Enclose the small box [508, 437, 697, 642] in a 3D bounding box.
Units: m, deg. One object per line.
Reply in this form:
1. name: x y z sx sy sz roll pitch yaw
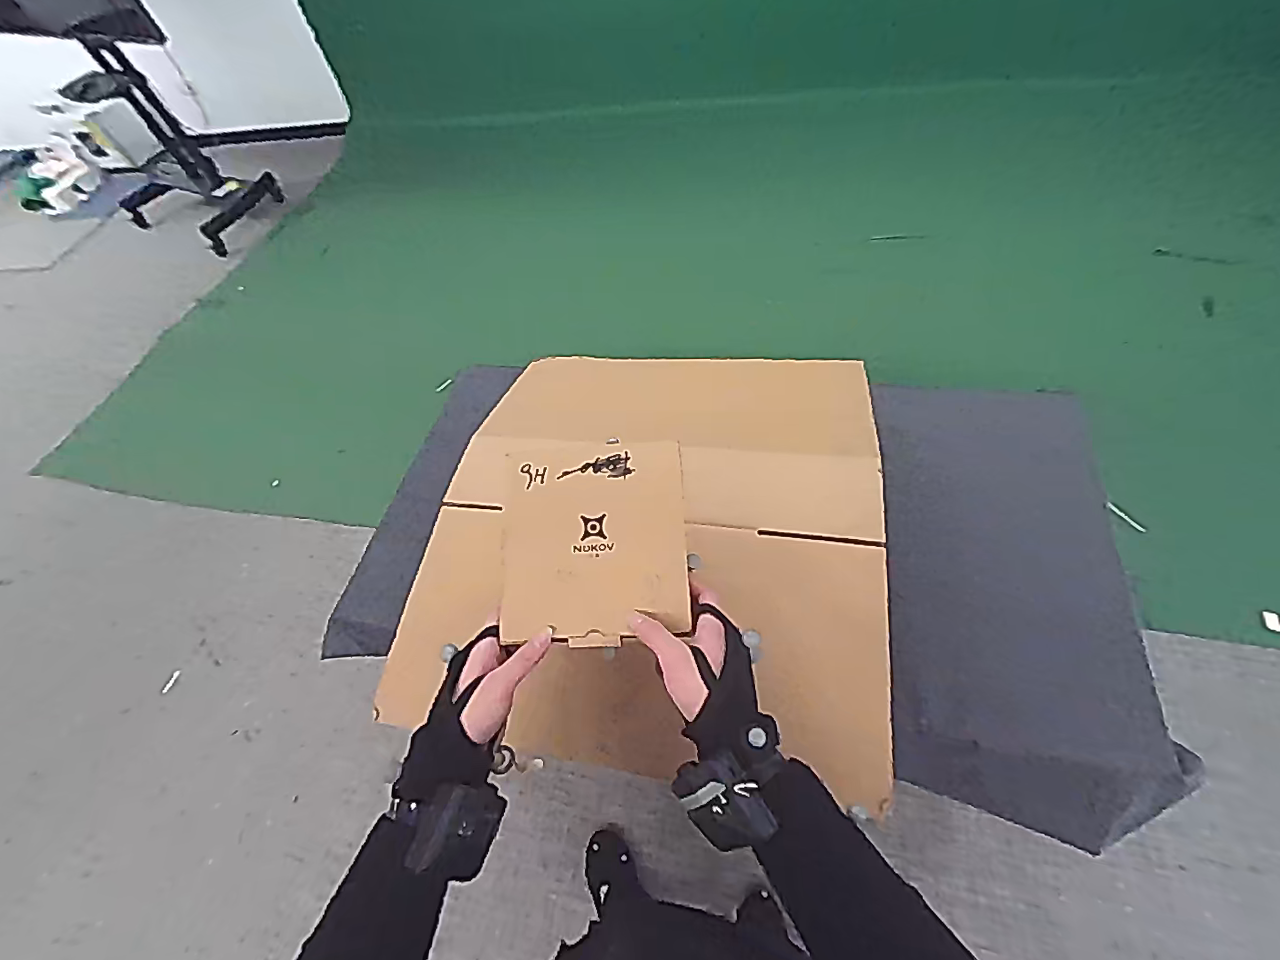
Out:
1. small box: -0.030 0.072 0.564 0.168 0.176 0.179 -6 72 4
